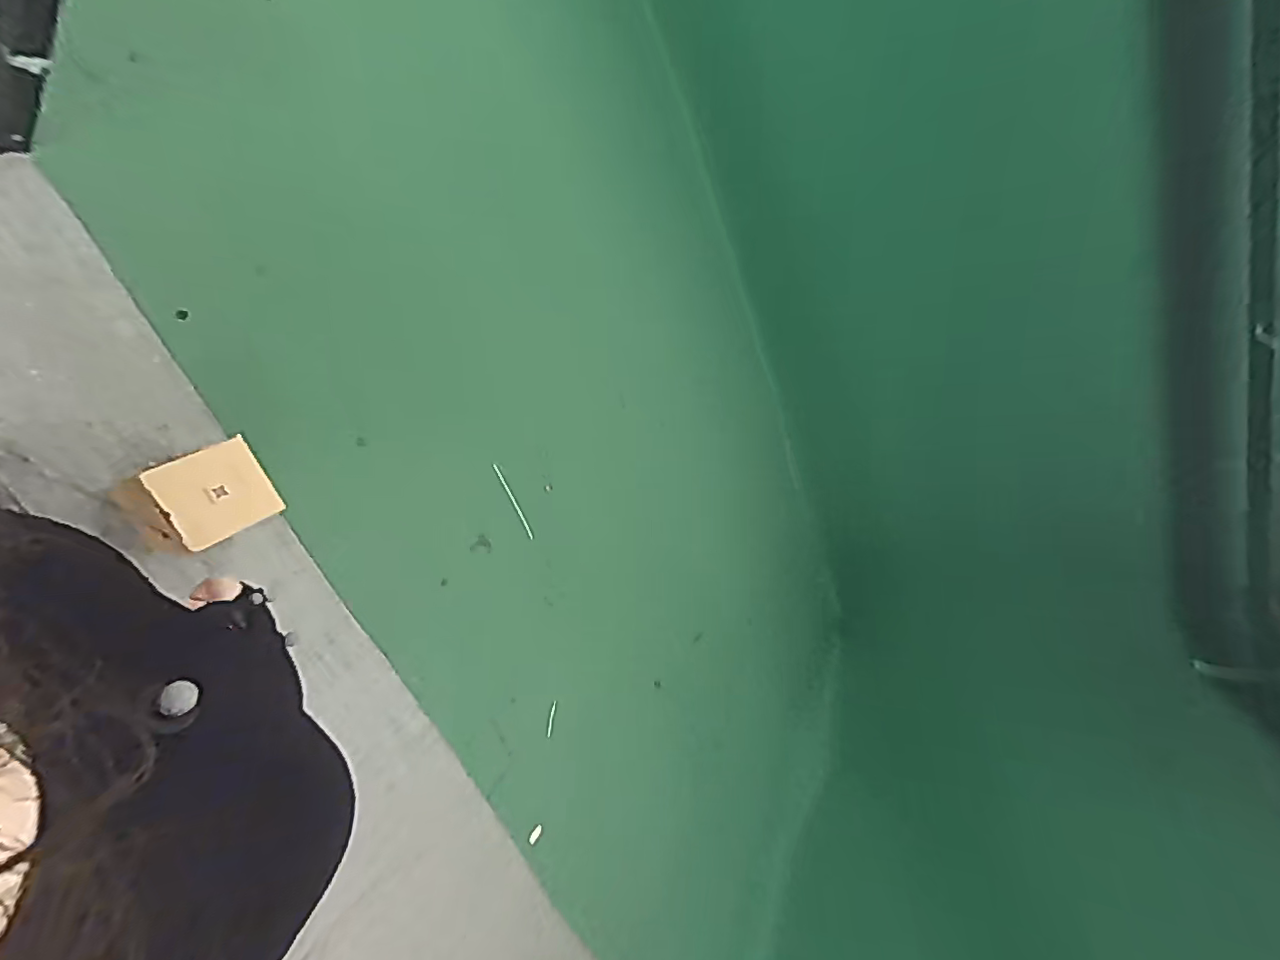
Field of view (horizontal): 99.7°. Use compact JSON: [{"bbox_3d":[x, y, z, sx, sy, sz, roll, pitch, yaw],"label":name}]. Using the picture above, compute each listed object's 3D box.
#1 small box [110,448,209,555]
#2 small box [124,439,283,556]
[{"bbox_3d":[-0.979,0.050,1.160,0.168,0.176,0.179,-41,117,-47],"label":"small box"},{"bbox_3d":[-0.855,0.036,1.056,0.179,0.176,0.168,-43,119,-47],"label":"small box"}]
